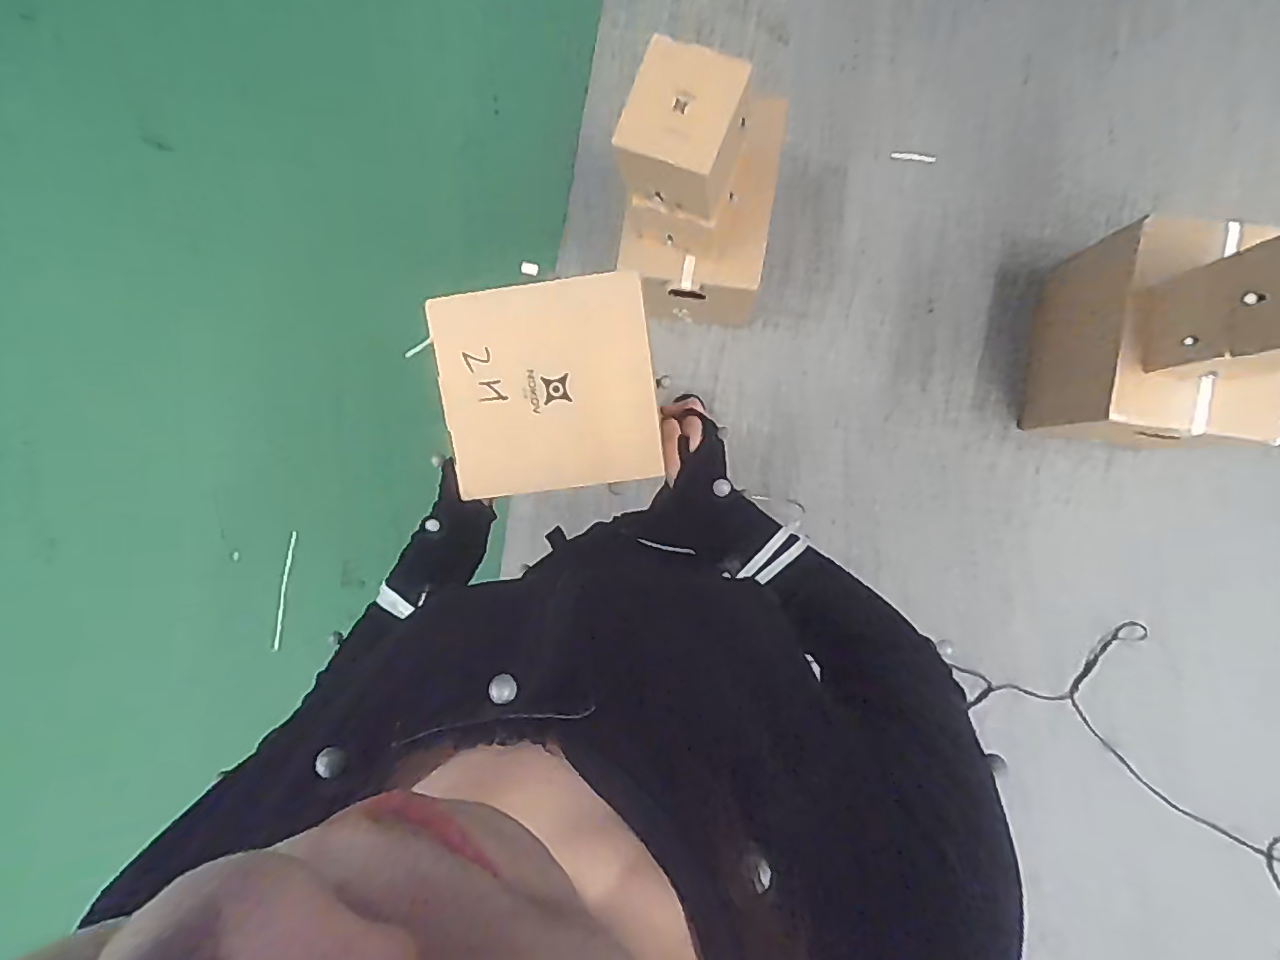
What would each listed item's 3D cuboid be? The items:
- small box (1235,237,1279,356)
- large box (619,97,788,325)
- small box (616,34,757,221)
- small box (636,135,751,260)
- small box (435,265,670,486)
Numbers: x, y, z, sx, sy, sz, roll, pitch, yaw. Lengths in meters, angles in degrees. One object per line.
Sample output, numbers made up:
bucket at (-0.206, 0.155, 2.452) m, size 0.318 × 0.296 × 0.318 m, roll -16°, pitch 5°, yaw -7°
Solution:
small box at (1.037, -0.279, 0.788) m, size 0.168 × 0.176 × 0.179 m, roll 1°, pitch 92°, yaw 8°
large box at (0.152, -0.622, 1.299) m, size 0.320 × 0.320 × 0.408 m, roll 10°, pitch 92°, yaw 7°
small box at (0.079, -0.571, 0.899) m, size 0.168 × 0.176 × 0.179 m, roll 24°, pitch 96°, yaw 8°
small box at (0.105, -0.566, 1.060) m, size 0.168 × 0.176 × 0.179 m, roll 21°, pitch 94°, yaw 7°
small box at (-0.067, -0.096, 0.520) m, size 0.179 × 0.176 × 0.168 m, roll -6°, pitch 99°, yaw 4°
